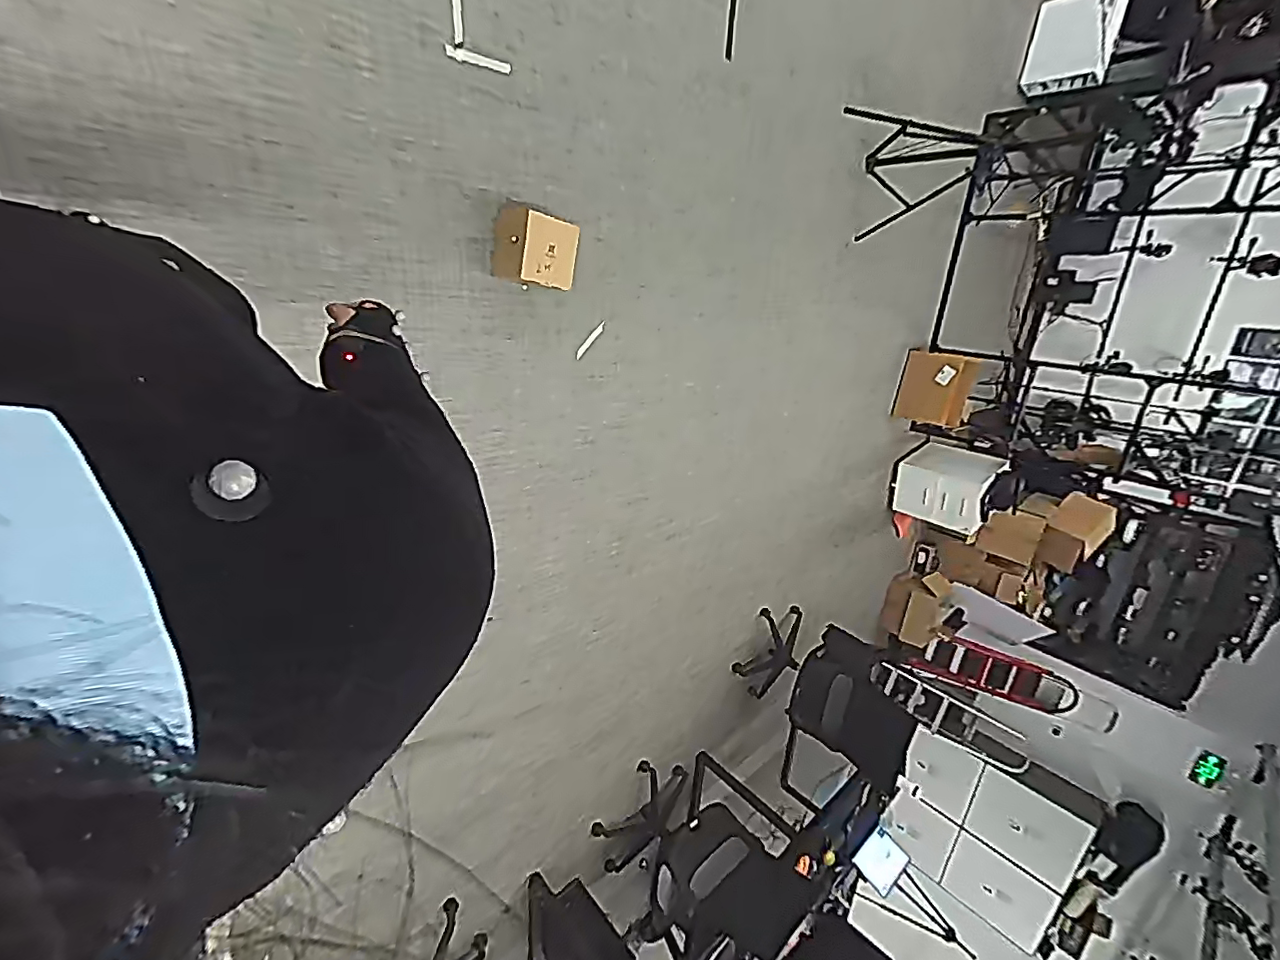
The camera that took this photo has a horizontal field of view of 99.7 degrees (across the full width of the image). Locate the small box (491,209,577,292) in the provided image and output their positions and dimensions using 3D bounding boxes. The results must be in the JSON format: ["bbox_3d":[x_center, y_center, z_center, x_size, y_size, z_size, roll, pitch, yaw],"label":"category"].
[{"bbox_3d":[-0.302,-0.641,1.520,0.168,0.176,0.179,-1,108,-44],"label":"small box"}]
